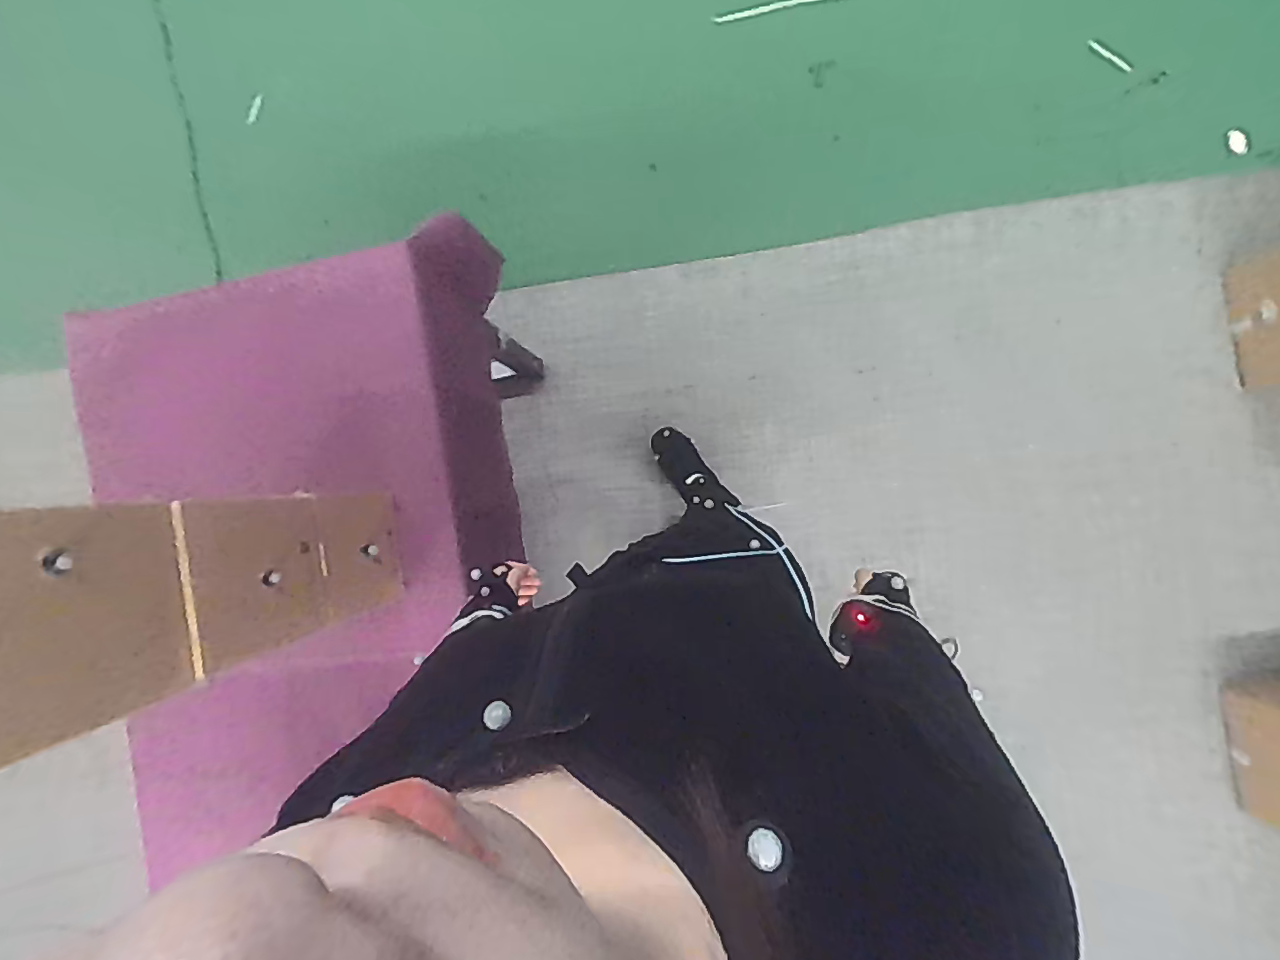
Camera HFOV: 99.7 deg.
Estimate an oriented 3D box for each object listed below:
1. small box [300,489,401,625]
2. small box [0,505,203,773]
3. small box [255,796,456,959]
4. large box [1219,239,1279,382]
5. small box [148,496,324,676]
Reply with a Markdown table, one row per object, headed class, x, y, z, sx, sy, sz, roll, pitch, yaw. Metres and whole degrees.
| class | x | y | z | sx | sy | sz | roll | pitch | yaw |
| --- | --- | --- | --- | --- | --- | --- | --- | --- | --- |
| small box | -0.455 | 0.105 | 0.750 | 0.179 | 0.176 | 0.168 | -9 | 89 | 6 |
| small box | -0.498 | 0.117 | 0.425 | 0.168 | 0.176 | 0.179 | -9 | 91 | 8 |
| small box | -0.379 | 0.566 | 0.745 | 0.179 | 0.176 | 0.168 | -8 | 90 | 6 |
| large box | 1.638 | -0.425 | 1.173 | 0.408 | 0.320 | 0.320 | -9 | 89 | 5 |
| small box | -0.474 | 0.111 | 0.586 | 0.179 | 0.176 | 0.168 | -9 | 89 | 7 |
